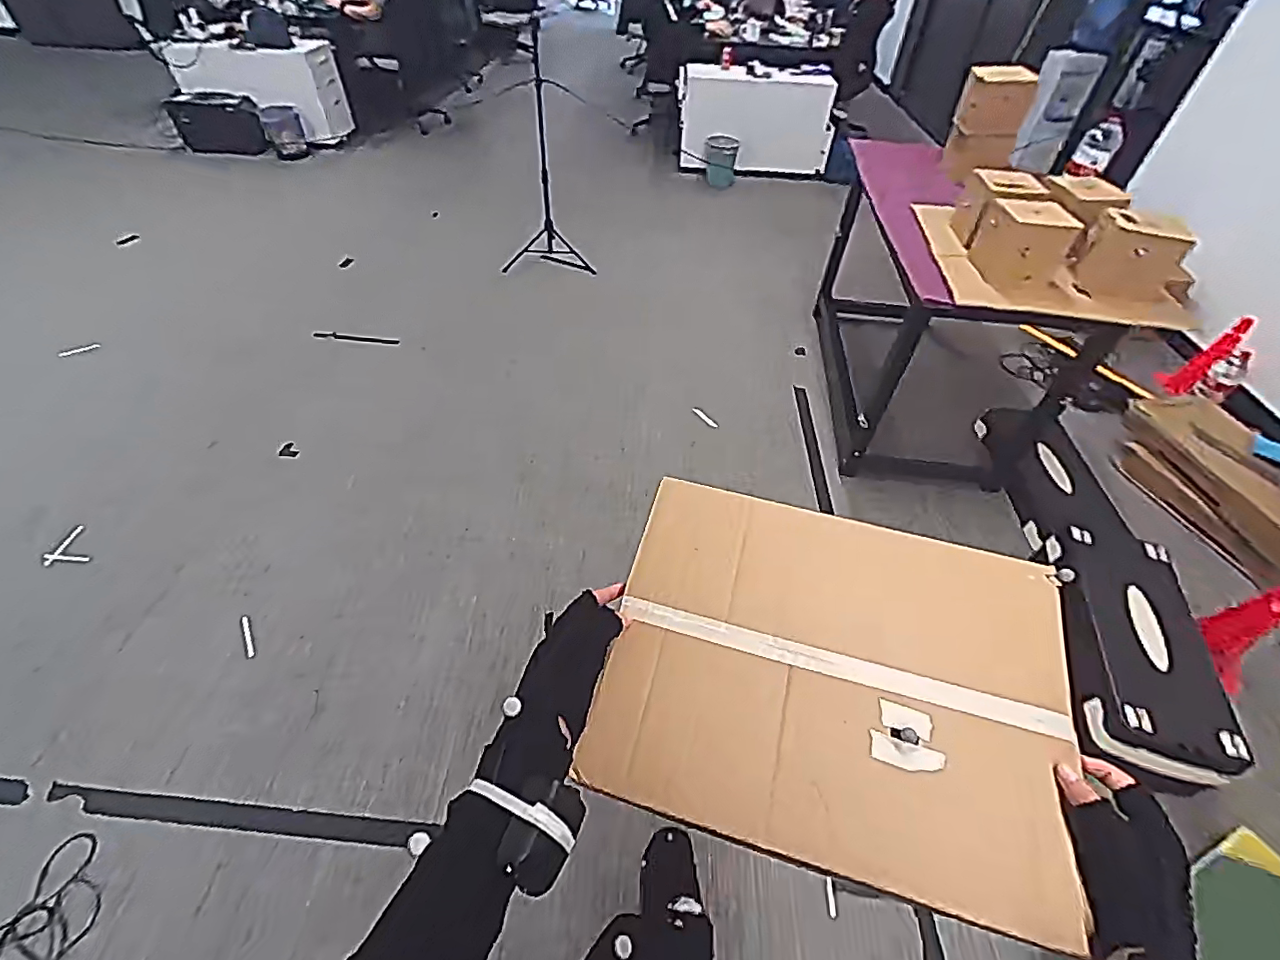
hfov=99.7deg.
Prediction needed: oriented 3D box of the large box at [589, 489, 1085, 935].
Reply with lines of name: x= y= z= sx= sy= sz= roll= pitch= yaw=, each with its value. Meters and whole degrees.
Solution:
large box: x=0.187 y=0.254 z=0.637 sx=0.408 sy=0.320 sz=0.320 roll=14 pitch=60 yaw=10
